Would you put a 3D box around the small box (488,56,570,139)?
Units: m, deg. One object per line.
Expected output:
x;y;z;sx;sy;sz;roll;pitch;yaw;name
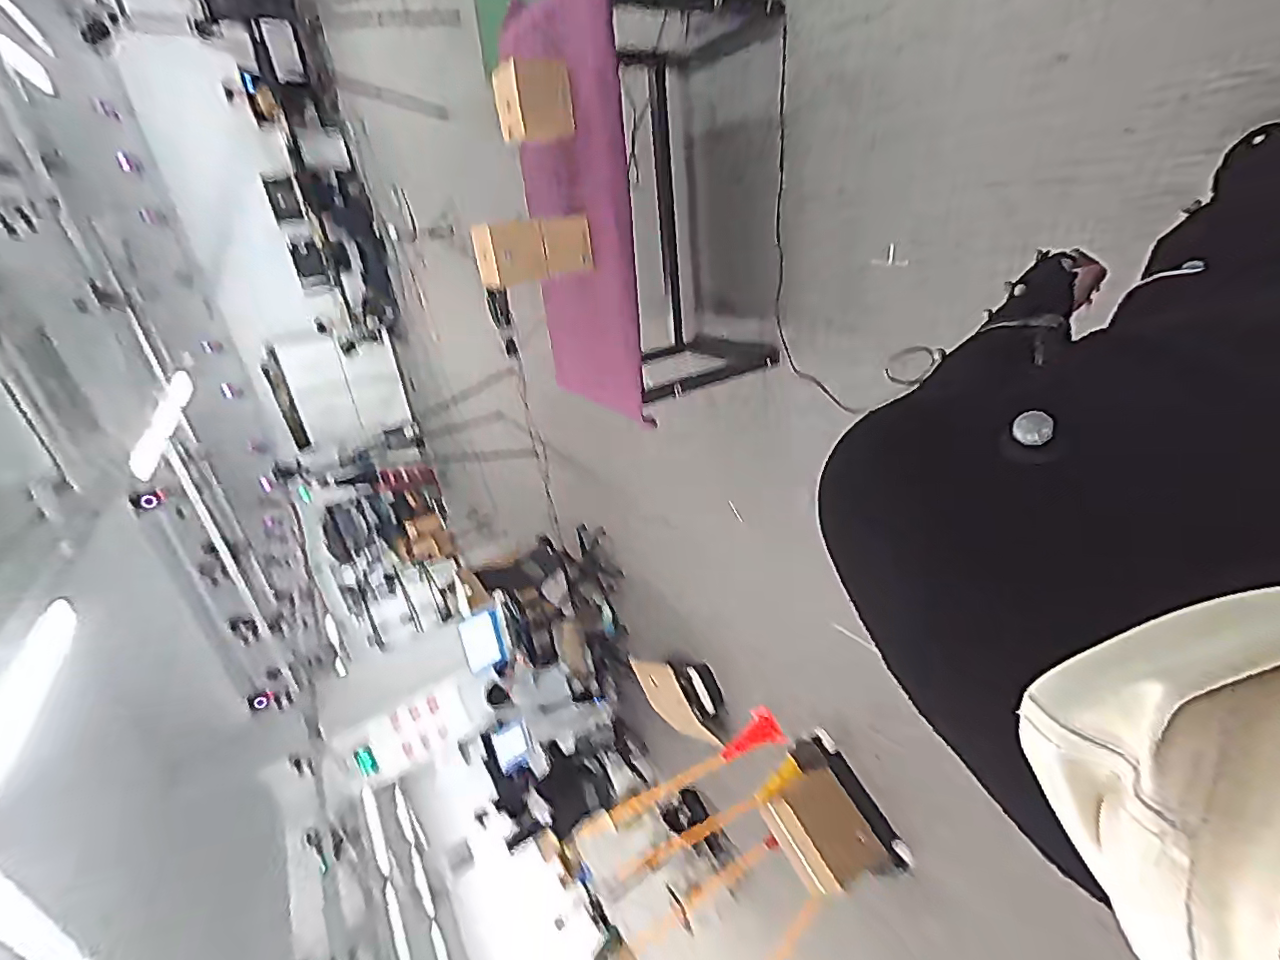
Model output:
-0.324;-1.114;1.587;0.168;0.176;0.179;30;134;50;small box

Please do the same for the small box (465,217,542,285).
-0.419;-0.712;1.679;0.168;0.176;0.179;28;131;50;small box

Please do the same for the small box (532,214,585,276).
-0.287;-0.765;1.759;0.179;0.176;0.168;29;132;51;small box
